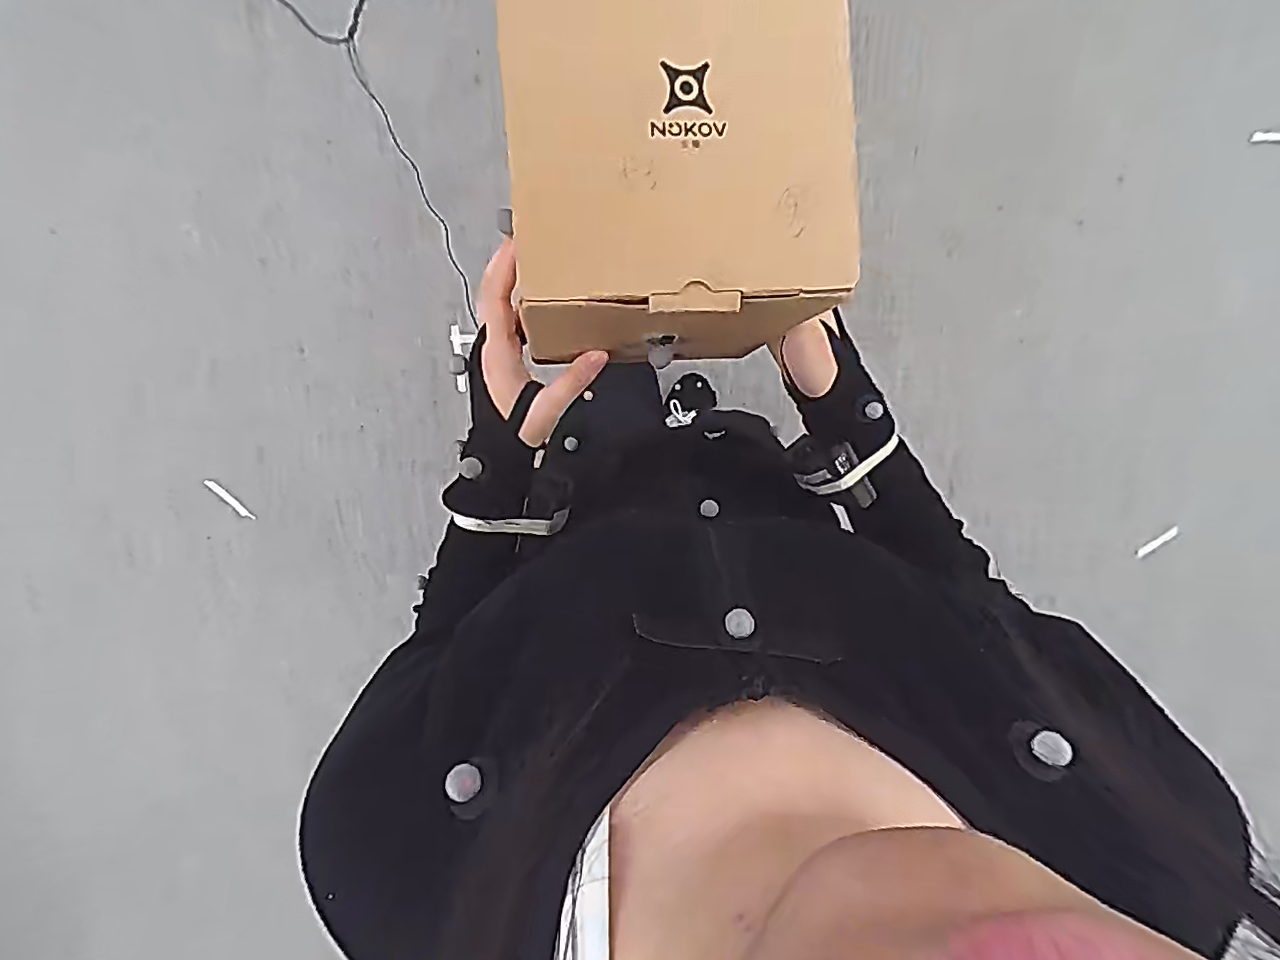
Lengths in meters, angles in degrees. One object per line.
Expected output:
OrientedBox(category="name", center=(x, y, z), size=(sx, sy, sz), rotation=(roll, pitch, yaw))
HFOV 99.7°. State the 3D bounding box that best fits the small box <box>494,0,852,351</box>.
OrientedBox(category="small box", center=(0.008, -0.177, 0.328), size=(0.168, 0.176, 0.179), rotation=(-4, 93, -9))
